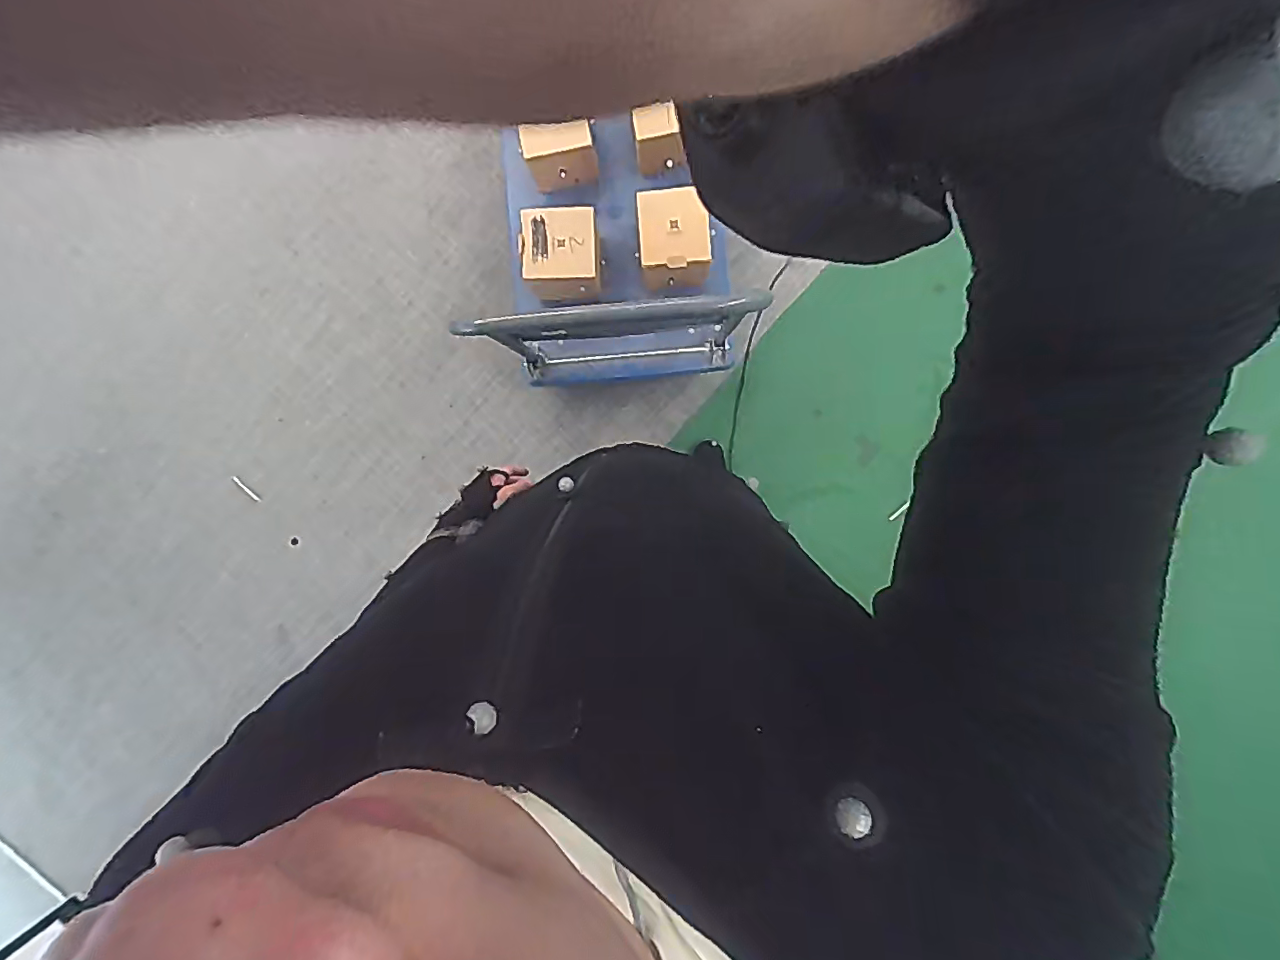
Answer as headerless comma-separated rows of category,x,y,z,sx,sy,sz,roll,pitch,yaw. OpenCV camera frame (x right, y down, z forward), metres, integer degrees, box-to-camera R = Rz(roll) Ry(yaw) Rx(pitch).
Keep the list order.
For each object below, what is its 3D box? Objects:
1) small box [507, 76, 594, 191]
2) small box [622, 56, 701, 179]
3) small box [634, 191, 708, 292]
small box,-0.215,-0.843,1.338,0.168,0.176,0.179,-10,92,2
small box,0.051,-0.880,1.327,0.168,0.176,0.179,-10,93,3
small box,0.073,-0.585,1.342,0.168,0.176,0.179,-5,93,2
